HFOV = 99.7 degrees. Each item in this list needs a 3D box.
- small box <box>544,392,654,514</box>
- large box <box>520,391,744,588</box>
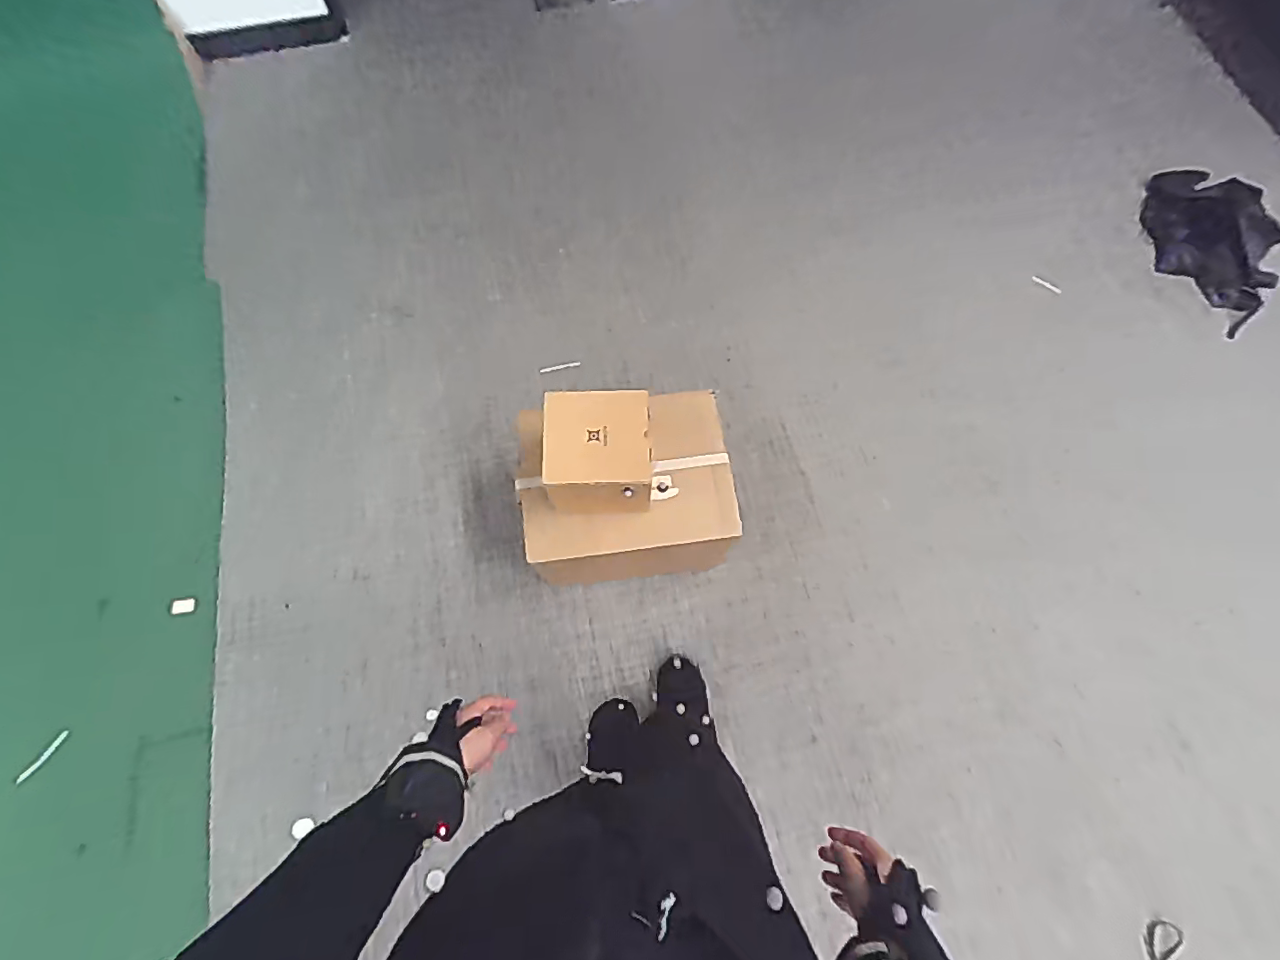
[{"bbox_3d":[-0.067,-0.041,0.949,0.179,0.176,0.168,-1,70,-2],"label":"small box"},{"bbox_3d":[-0.028,0.036,1.180,0.408,0.320,0.320,-7,72,-5],"label":"large box"}]
